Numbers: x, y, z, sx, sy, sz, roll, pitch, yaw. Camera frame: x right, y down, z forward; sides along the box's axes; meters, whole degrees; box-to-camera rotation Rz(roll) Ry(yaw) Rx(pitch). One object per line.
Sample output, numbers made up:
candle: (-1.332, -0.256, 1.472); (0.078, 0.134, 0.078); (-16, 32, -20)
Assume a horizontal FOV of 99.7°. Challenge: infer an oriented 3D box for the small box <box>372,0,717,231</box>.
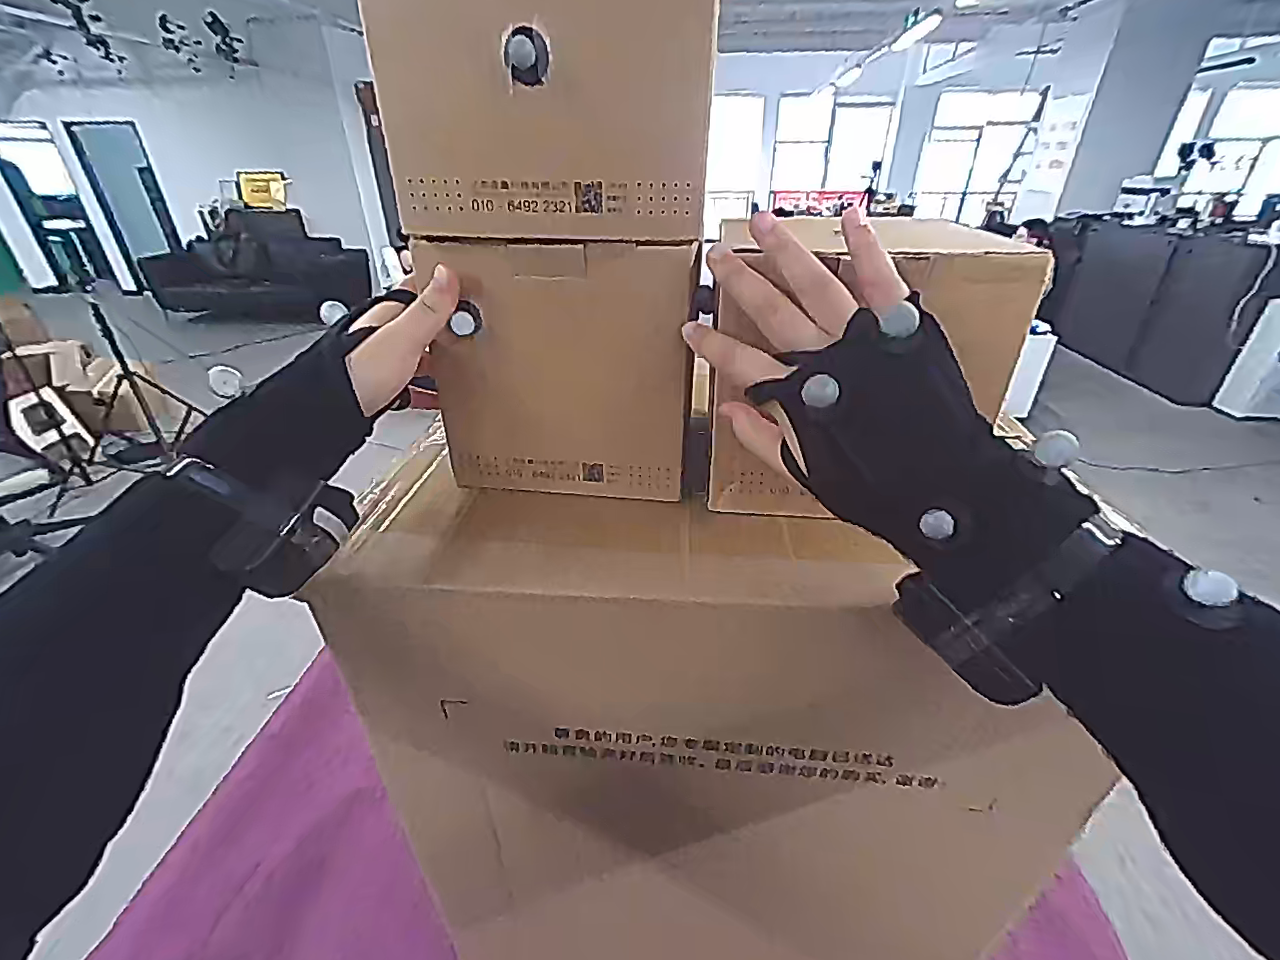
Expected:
small box: (-0.041, -0.249, 0.325); (0.168, 0.176, 0.179); (2, 30, 2)
